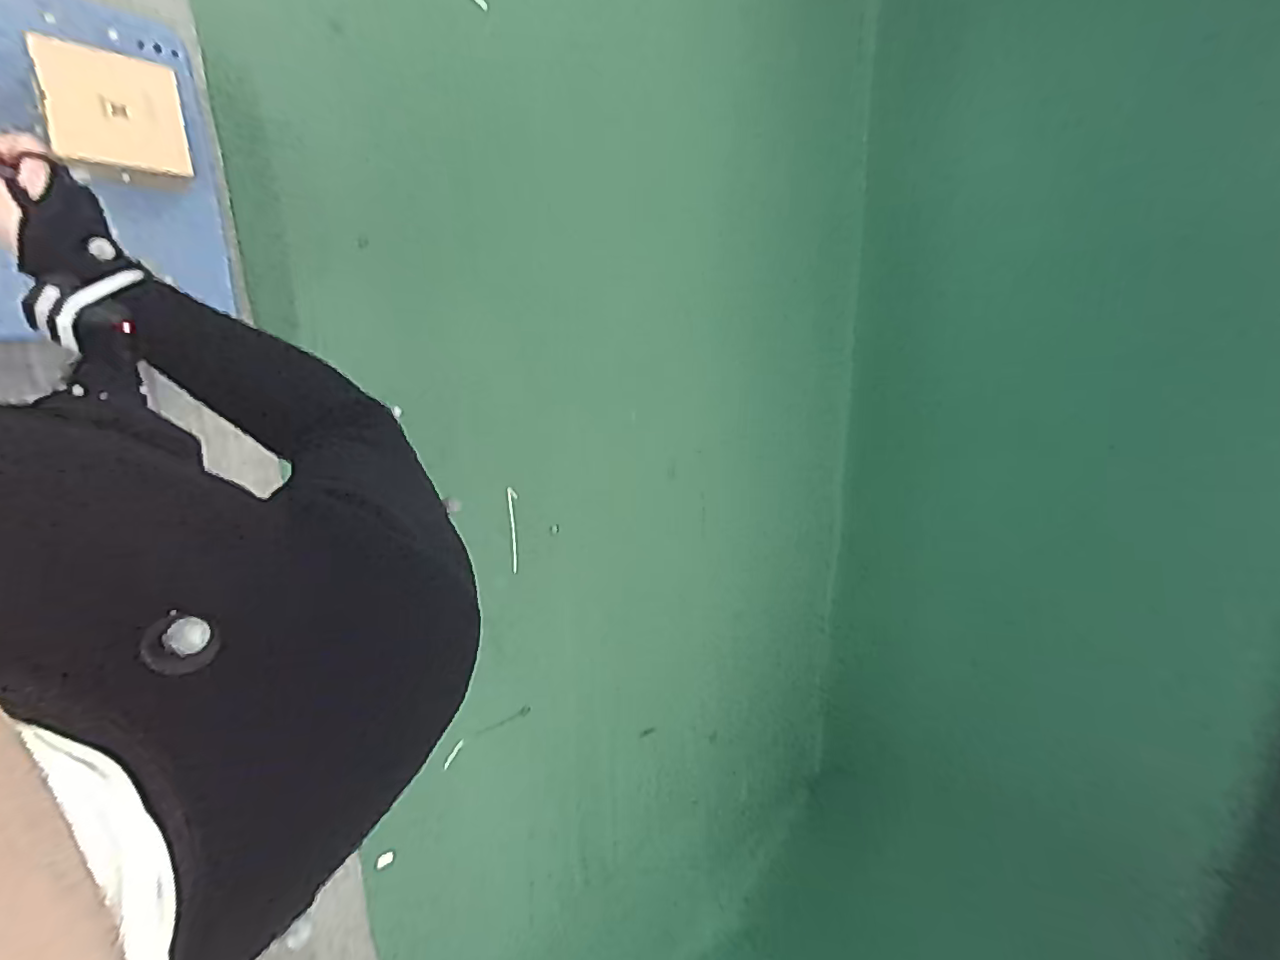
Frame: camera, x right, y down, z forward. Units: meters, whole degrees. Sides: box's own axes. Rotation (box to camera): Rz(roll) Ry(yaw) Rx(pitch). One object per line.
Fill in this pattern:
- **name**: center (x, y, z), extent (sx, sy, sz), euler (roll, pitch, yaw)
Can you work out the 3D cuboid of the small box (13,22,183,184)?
- **small box**: center (-0.914, -0.626, 0.928), extent (0.179, 0.176, 0.168), euler (-12, 109, -41)
